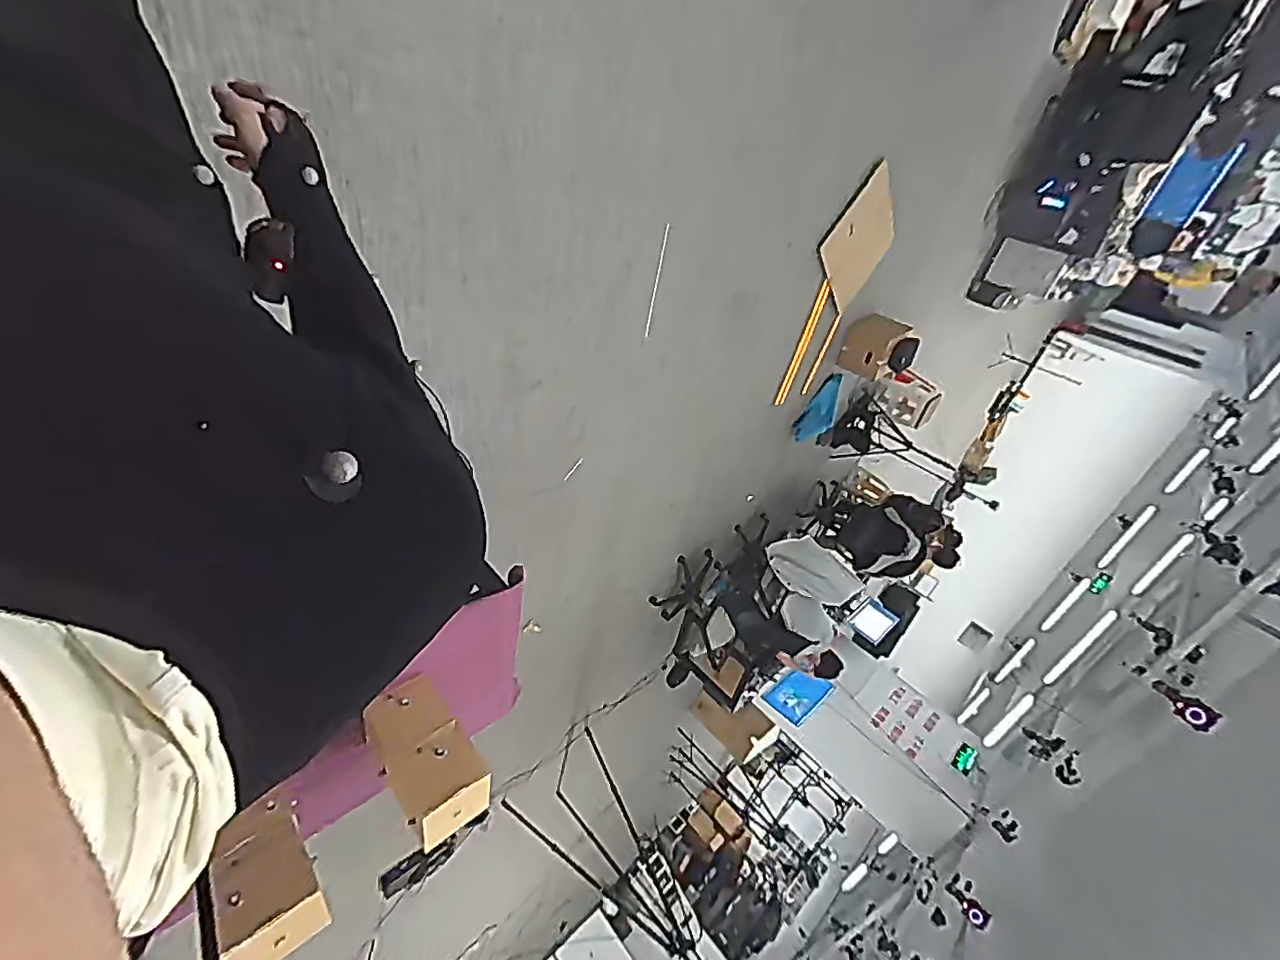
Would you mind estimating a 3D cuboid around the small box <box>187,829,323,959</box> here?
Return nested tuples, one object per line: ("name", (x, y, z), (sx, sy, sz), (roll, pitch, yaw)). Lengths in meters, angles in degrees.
("small box", (-0.742, 0.825, 1.047), (0.168, 0.176, 0.179), (-21, 137, -40))

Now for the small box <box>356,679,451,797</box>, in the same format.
("small box", (-0.597, 0.644, 1.367), (0.168, 0.176, 0.179), (-21, 136, -41))

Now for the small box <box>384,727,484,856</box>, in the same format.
("small box", (-0.488, 0.730, 1.283), (0.168, 0.176, 0.179), (-21, 136, -40))
